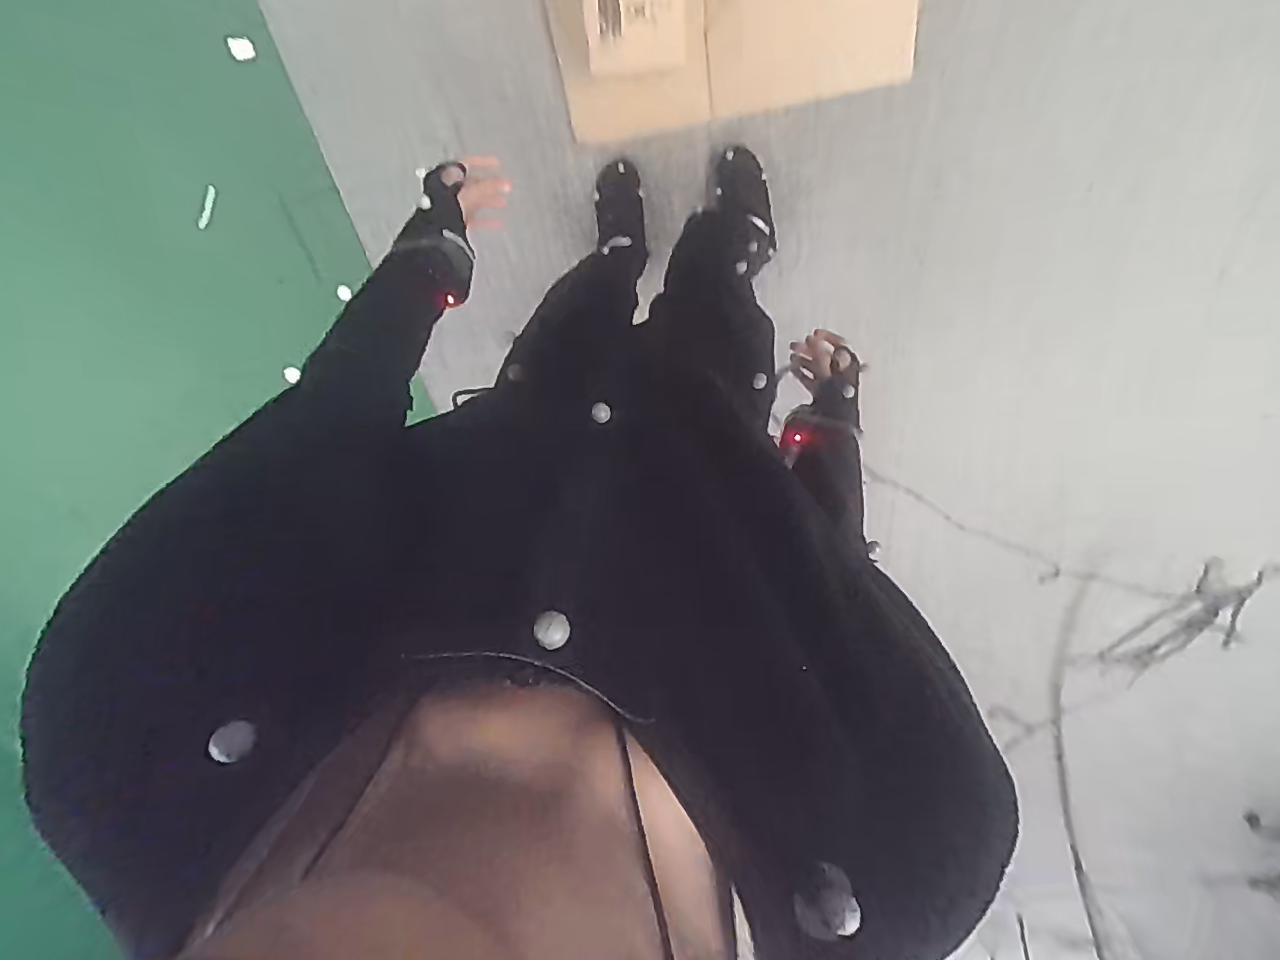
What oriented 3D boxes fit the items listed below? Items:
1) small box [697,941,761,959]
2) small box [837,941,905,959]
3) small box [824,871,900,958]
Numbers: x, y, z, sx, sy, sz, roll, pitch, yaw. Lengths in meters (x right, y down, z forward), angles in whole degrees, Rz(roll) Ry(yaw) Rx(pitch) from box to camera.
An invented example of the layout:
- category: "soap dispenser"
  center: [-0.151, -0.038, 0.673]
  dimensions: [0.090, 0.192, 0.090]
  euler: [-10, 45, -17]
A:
- category: "small box"
  center: [0.254, 1.411, 1.504]
  dimensions: [0.179, 0.176, 0.168]
  euler: [-4, 127, 7]
- category: "small box"
  center: [0.635, 1.367, 1.450]
  dimensions: [0.168, 0.176, 0.179]
  euler: [-5, 125, 7]
- category: "small box"
  center: [0.645, 1.280, 1.589]
  dimensions: [0.168, 0.176, 0.179]
  euler: [-7, 124, 8]
